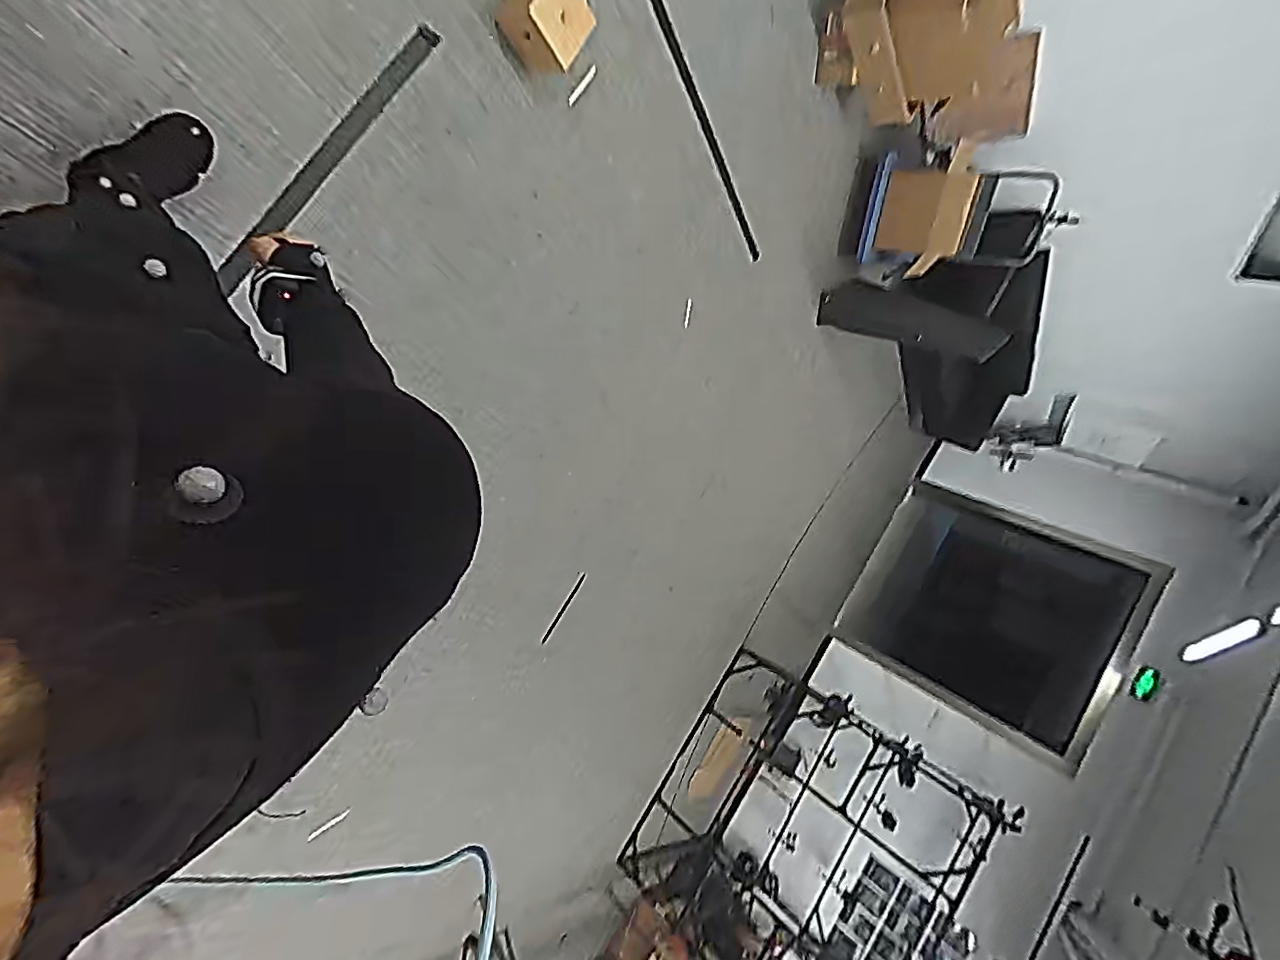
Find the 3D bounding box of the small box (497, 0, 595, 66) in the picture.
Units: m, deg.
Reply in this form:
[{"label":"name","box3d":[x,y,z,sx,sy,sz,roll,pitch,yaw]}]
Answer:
[{"label":"small box","box3d":[-0.264,-1.281,1.483,0.179,0.176,0.168,-60,144,-4]}]
